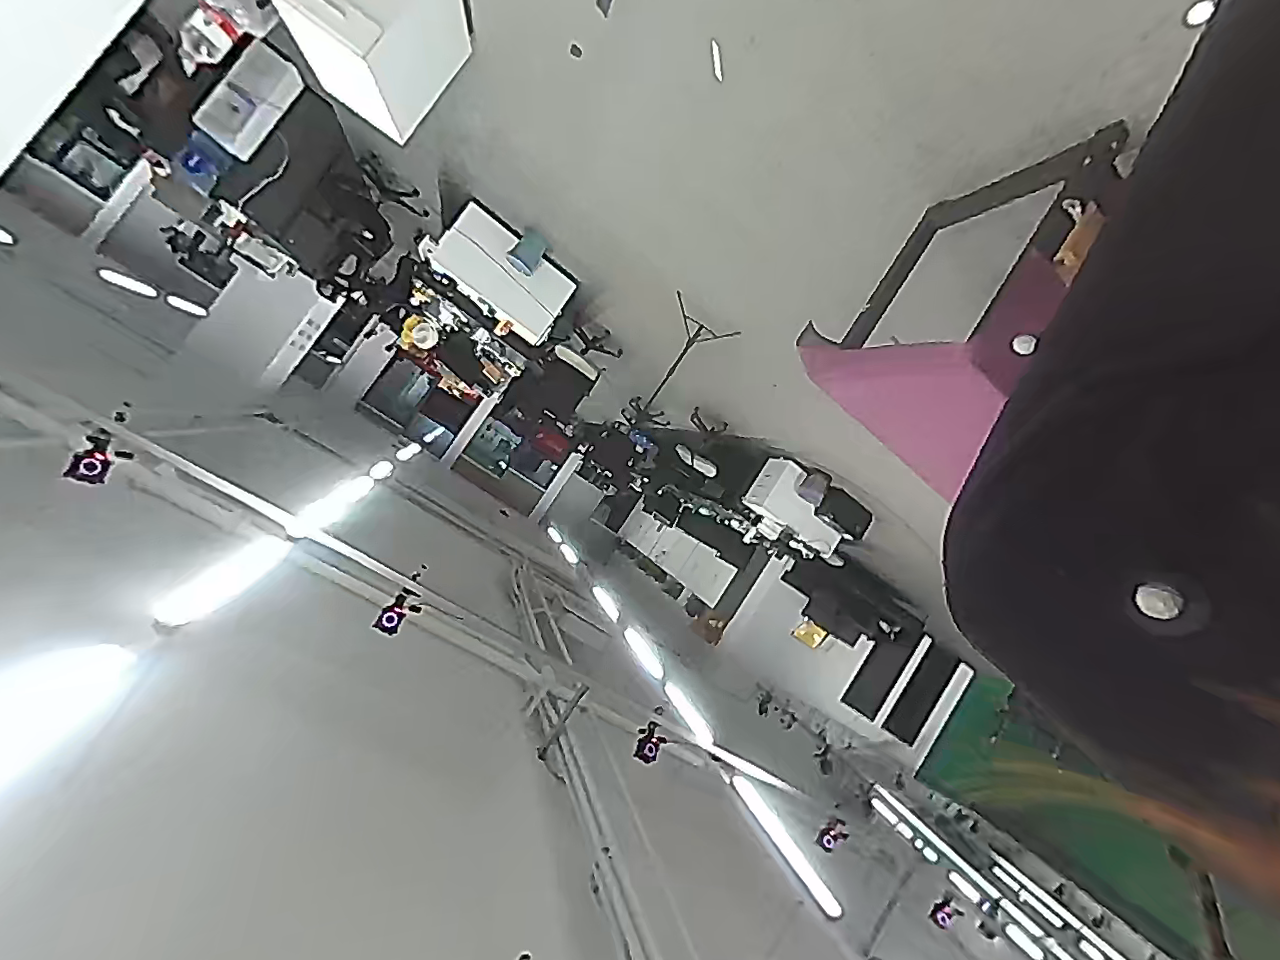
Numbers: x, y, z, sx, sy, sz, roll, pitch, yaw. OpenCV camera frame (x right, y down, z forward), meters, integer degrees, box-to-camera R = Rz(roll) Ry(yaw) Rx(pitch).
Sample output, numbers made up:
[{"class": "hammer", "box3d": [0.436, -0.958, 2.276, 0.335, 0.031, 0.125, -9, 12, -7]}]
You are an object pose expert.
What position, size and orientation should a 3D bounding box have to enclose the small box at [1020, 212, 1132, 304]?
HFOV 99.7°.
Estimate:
[{"class": "small box", "box3d": [1.279, -0.653, 1.587, 0.179, 0.176, 0.168, 35, 176, -19]}]
